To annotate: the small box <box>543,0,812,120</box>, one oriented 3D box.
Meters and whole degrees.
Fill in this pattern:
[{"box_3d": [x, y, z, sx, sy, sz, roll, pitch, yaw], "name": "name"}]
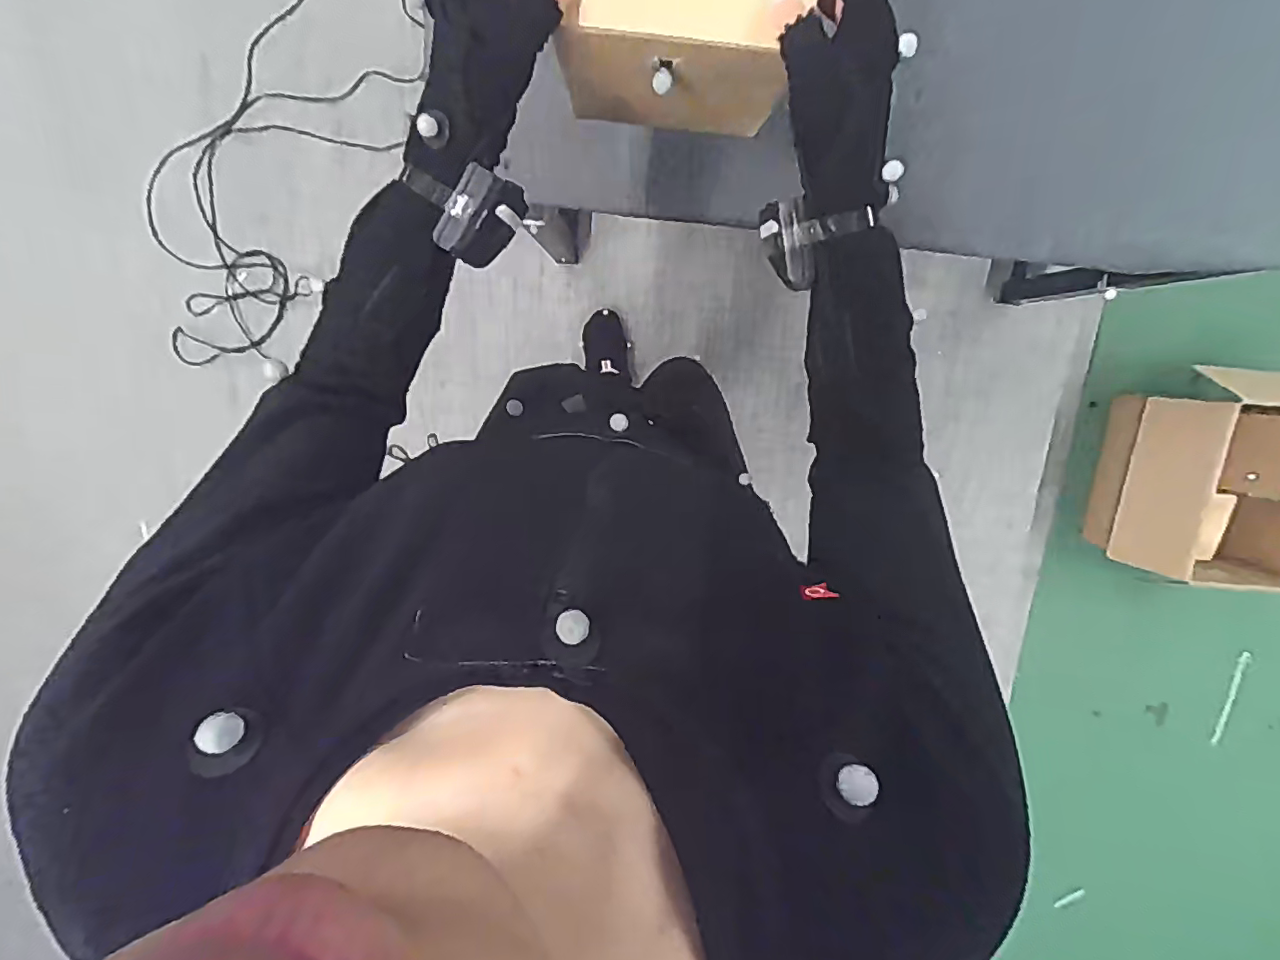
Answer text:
[{"box_3d": [0.031, -0.395, 0.406, 0.179, 0.176, 0.168, 5, 107, -1], "name": "small box"}]
